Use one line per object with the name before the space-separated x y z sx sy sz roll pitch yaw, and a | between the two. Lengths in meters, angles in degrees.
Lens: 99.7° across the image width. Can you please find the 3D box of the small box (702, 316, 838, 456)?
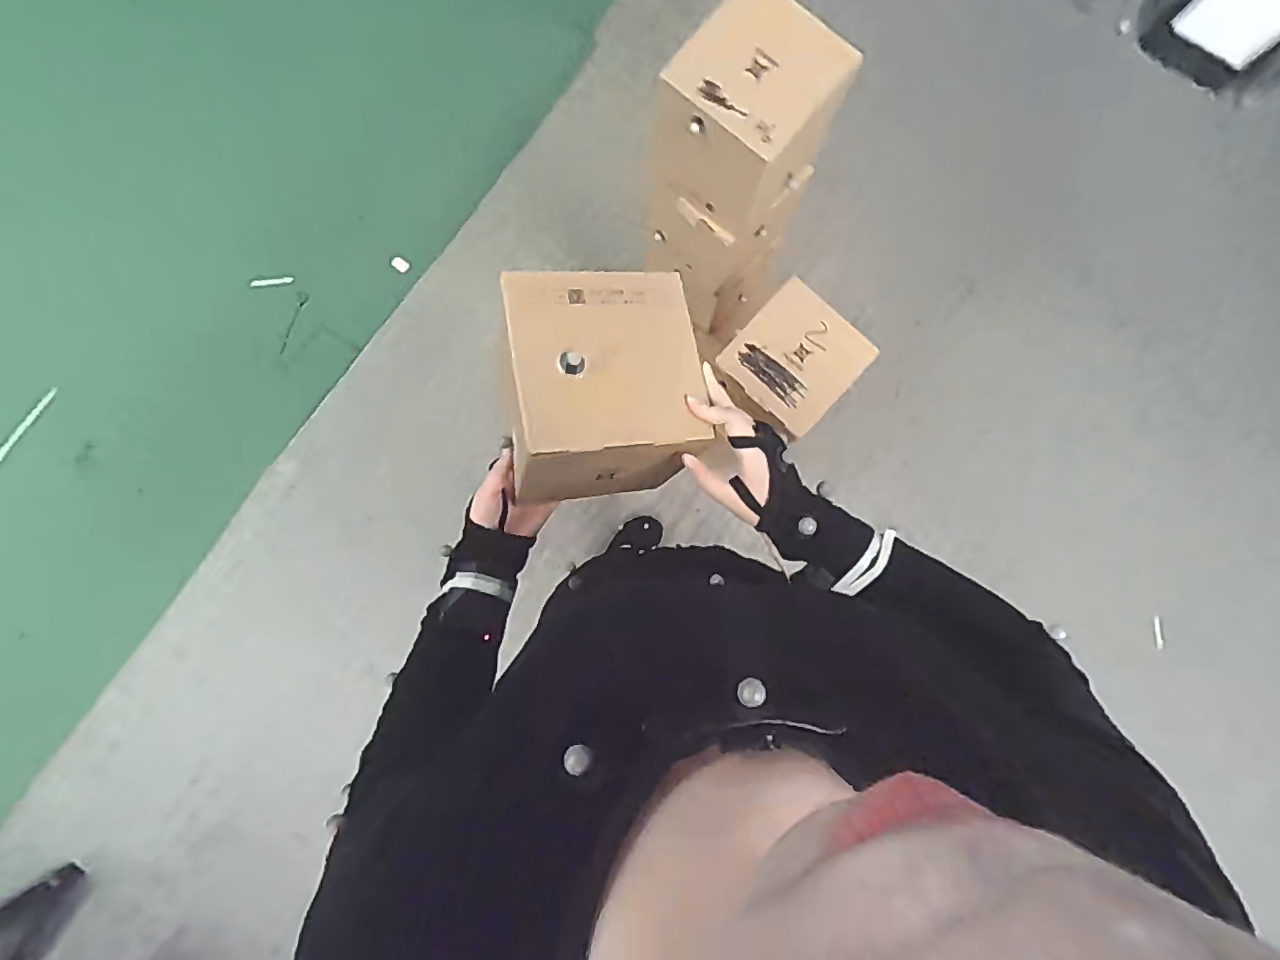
small box | 0.226 -0.162 1.002 0.168 0.176 0.179 38 86 3

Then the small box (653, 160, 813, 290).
small box | 0.136 -0.440 0.862 0.179 0.176 0.168 -42 86 -5

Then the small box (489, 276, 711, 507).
small box | -0.054 -0.084 0.538 0.168 0.179 0.176 -7 77 -19

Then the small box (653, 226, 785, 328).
small box | 0.137 -0.421 1.025 0.168 0.176 0.179 -44 88 -3

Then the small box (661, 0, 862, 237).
small box | 0.139 -0.463 0.698 0.168 0.176 0.179 41 85 4
